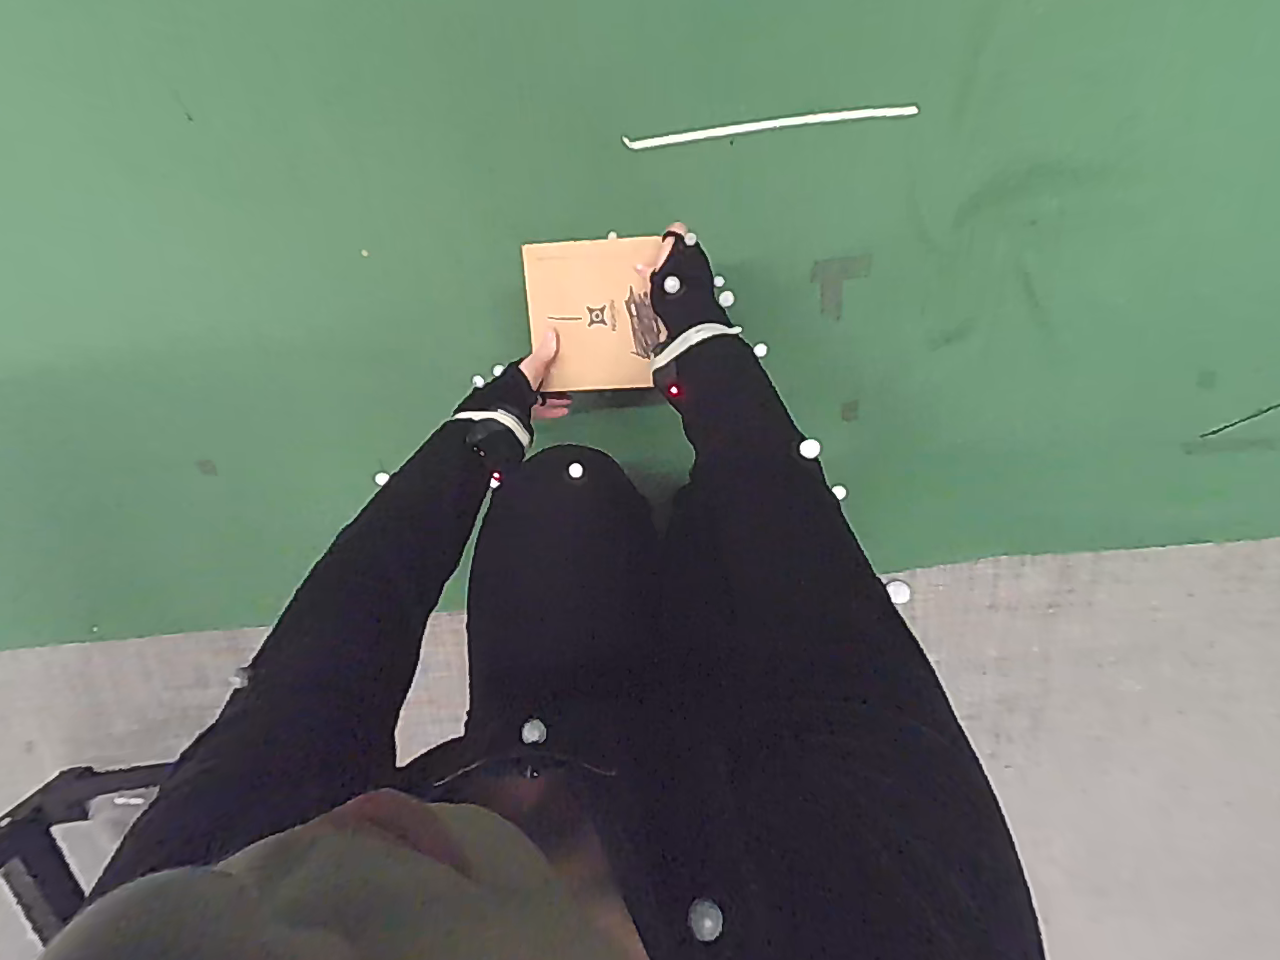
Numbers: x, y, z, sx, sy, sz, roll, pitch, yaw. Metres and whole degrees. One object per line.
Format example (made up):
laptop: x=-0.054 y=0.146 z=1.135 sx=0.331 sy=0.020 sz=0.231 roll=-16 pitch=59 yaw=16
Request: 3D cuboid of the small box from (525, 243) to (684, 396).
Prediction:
small box: x=-0.036 y=-0.201 z=0.696 sx=0.179 sy=0.176 sz=0.168 roll=-2 pitch=104 yaw=4
